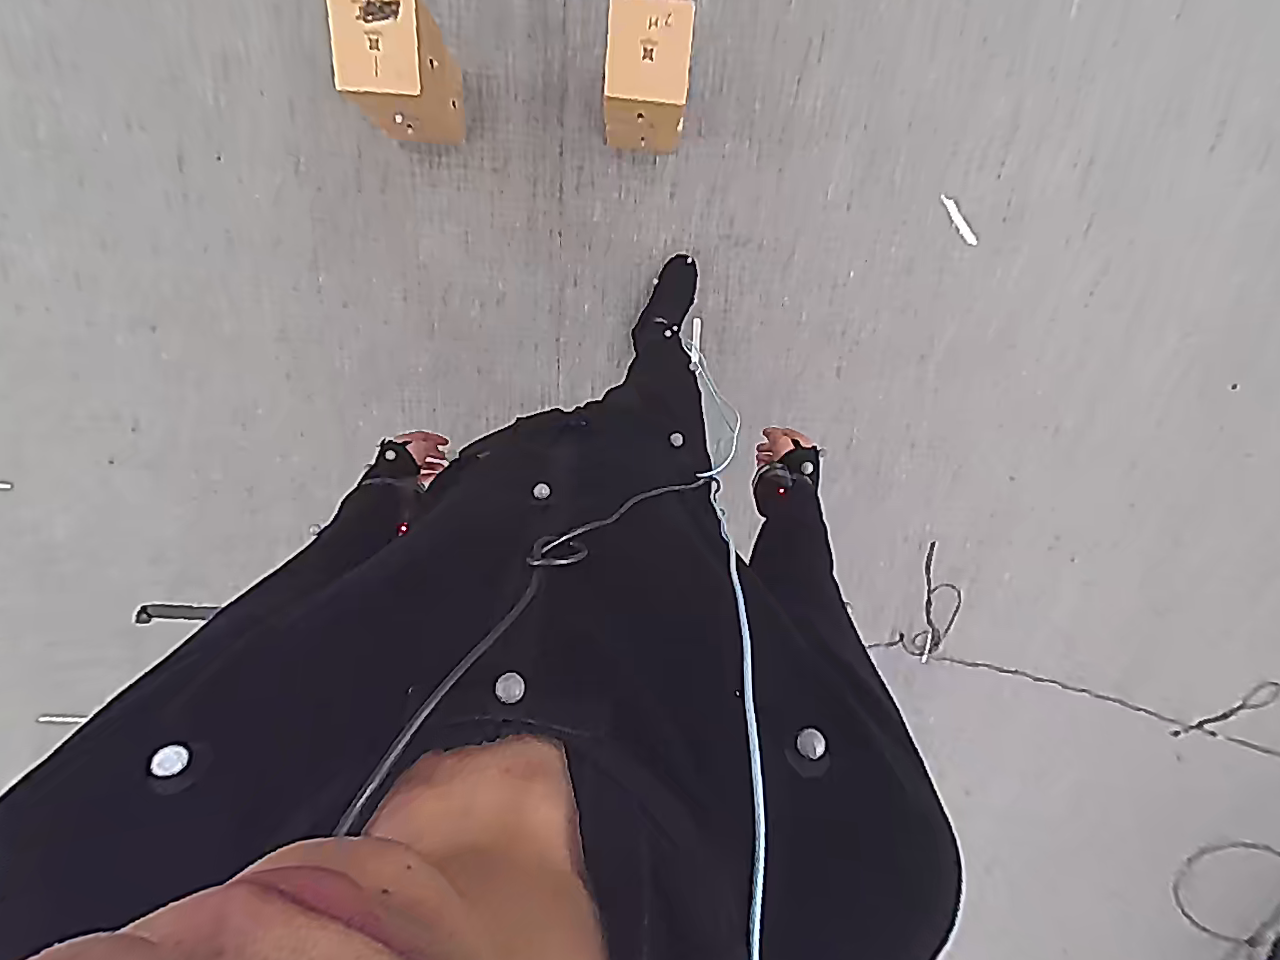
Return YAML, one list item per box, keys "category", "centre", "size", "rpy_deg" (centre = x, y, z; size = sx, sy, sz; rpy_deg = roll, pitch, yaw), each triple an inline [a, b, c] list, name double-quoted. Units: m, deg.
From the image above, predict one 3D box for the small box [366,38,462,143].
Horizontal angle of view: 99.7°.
- category: "small box"
  centre: [-0.520, -0.904, 1.258]
  size: [0.179, 0.176, 0.168]
  rpy_deg: [2, 107, -3]

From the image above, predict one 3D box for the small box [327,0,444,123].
- category: "small box"
  centre: [-0.508, -0.859, 1.100]
  size: [0.168, 0.176, 0.179]
  rpy_deg: [2, 108, -3]

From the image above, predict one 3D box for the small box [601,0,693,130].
- category: "small box"
  centre: [0.010, -0.858, 1.125]
  size: [0.168, 0.176, 0.179]
  rpy_deg: [4, 107, -4]
